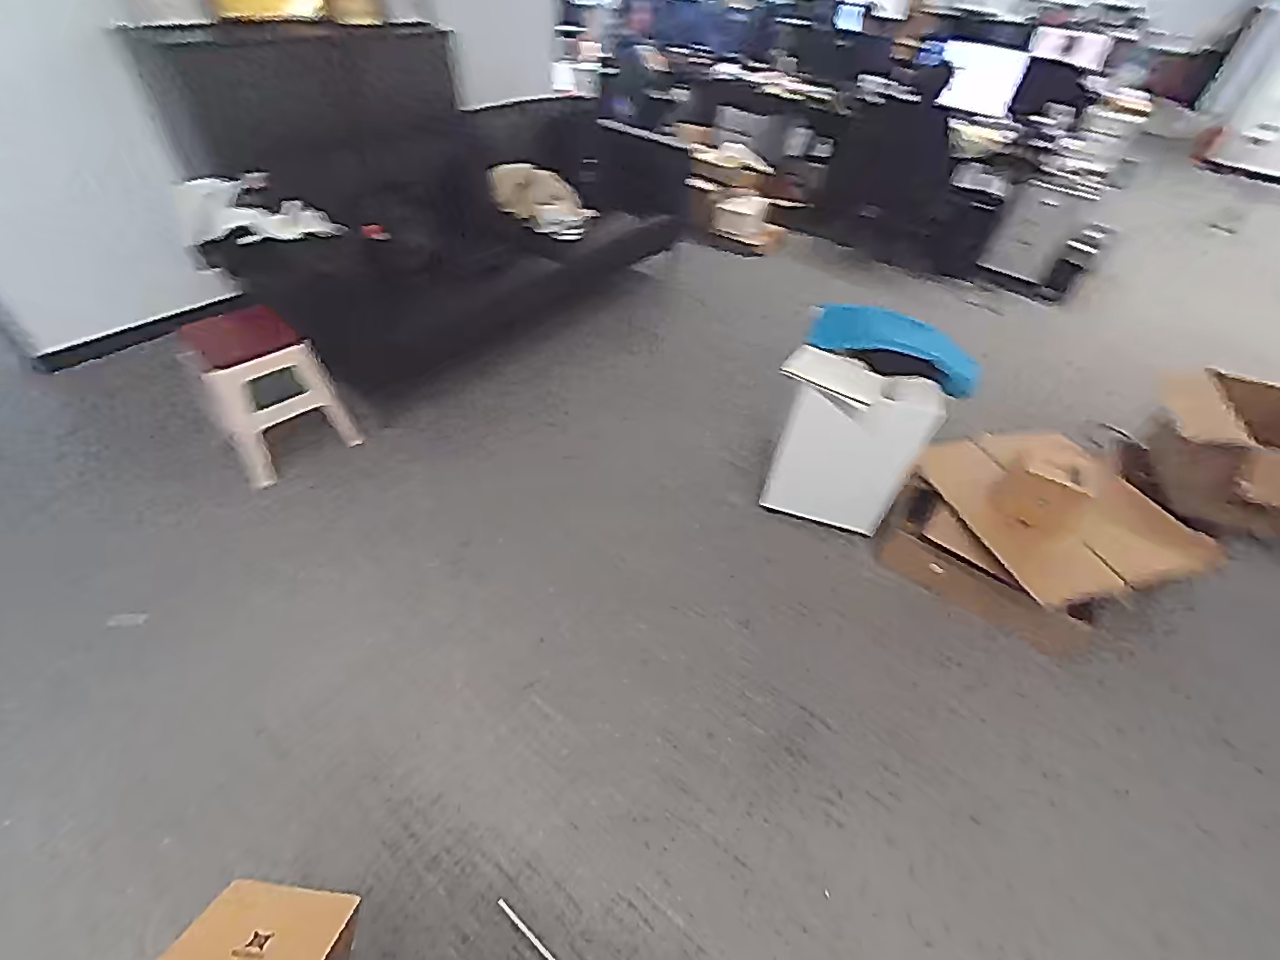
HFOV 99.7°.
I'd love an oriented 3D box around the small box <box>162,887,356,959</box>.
[{"bbox_3d":[-0.460,0.620,0.617,0.168,0.176,0.179,10,-1,-4],"label":"small box"}]
